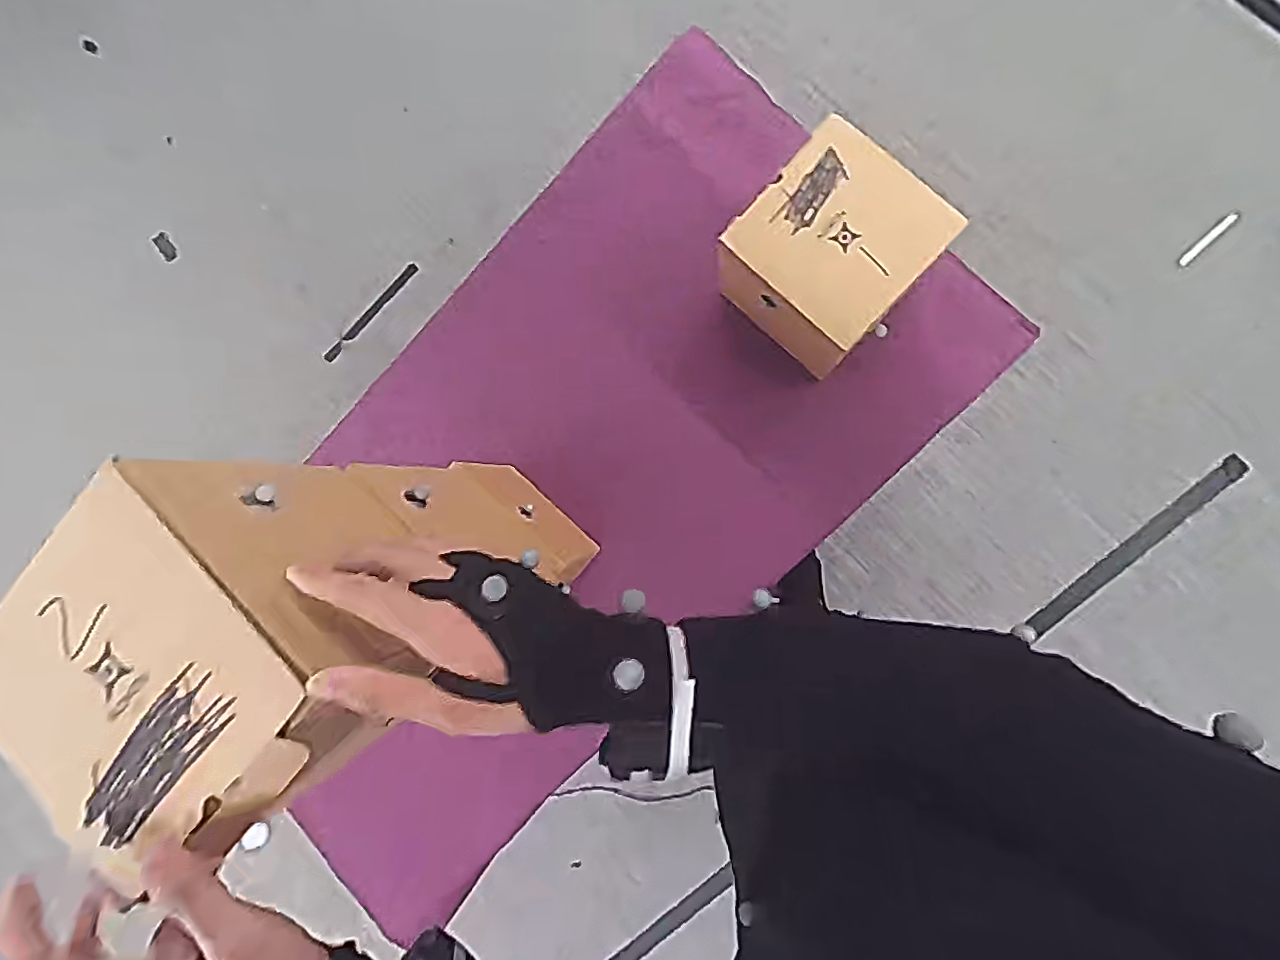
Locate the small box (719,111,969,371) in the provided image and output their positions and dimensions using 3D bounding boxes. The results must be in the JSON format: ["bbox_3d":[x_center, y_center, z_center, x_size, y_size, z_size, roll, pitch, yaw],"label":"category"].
[{"bbox_3d":[0.207,-0.245,0.604,0.179,0.176,0.168,44,98,7],"label":"small box"}]

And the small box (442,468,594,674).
[{"bbox_3d":[-0.183,0.099,0.676,0.179,0.176,0.168,42,96,8],"label":"small box"}]

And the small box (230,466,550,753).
[{"bbox_3d":[-0.219,0.106,0.515,0.179,0.176,0.168,44,97,7],"label":"small box"}]
